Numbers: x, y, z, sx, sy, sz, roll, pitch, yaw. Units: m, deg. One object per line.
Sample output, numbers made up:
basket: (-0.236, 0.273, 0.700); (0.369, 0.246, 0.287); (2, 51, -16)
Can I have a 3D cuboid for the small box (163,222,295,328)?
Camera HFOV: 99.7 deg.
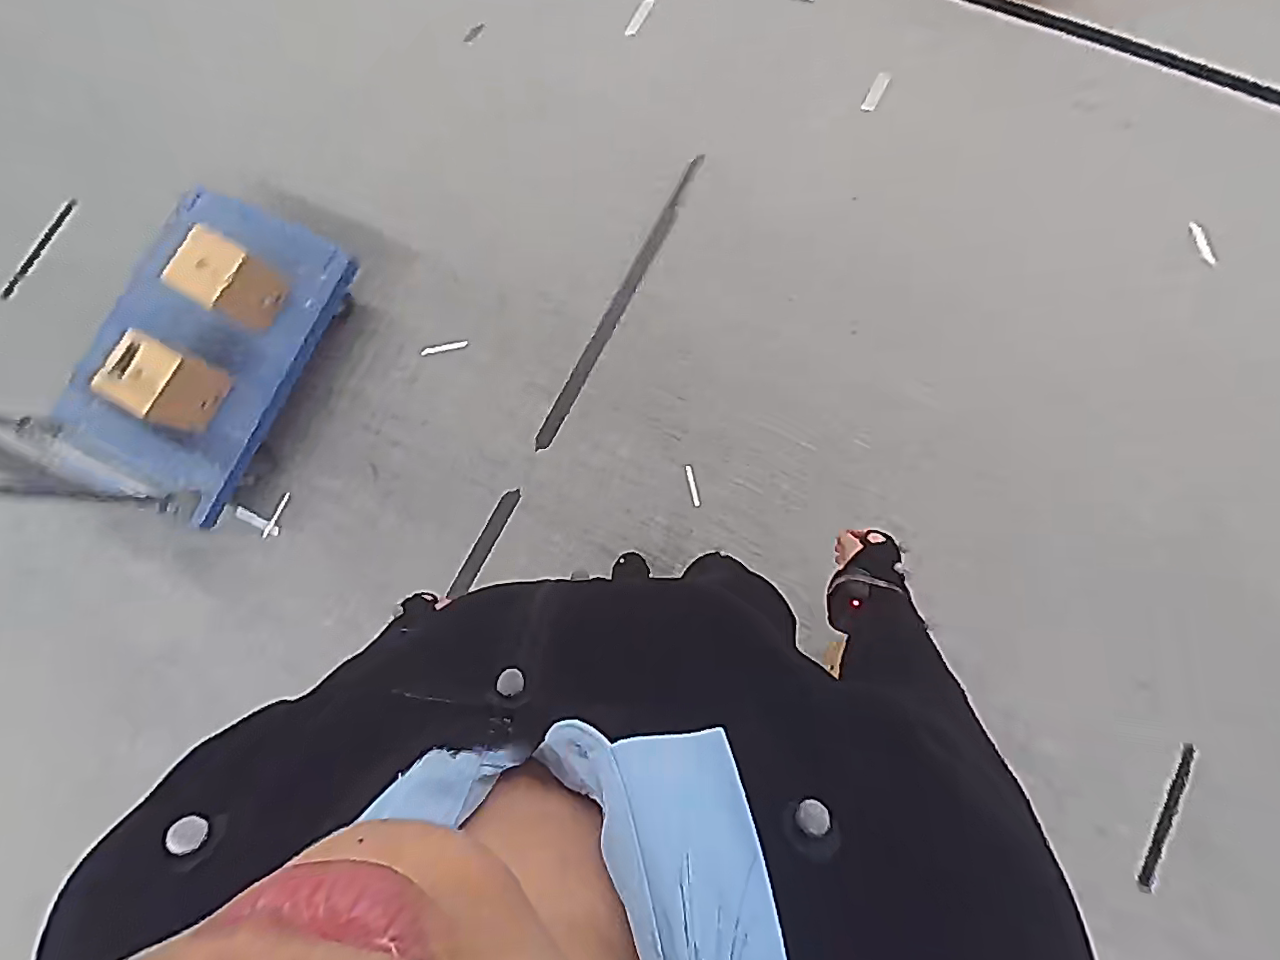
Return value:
small box: (-1.068, -0.529, 1.419); (0.179, 0.176, 0.168); (29, 85, 8)
